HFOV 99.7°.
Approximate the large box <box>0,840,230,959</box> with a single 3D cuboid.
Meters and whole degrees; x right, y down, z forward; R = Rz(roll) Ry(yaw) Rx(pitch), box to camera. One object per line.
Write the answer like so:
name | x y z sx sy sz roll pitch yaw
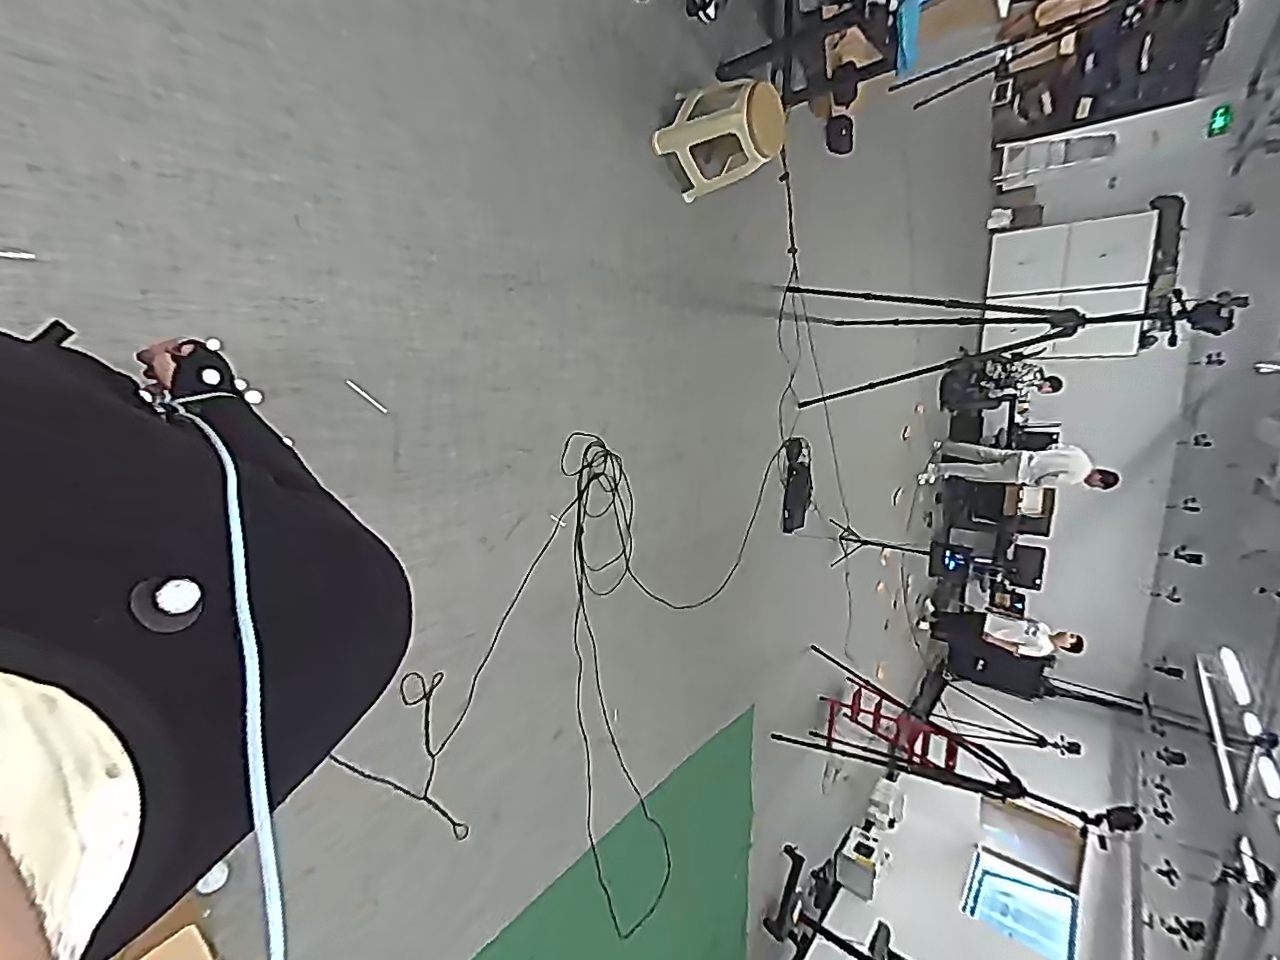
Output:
large box | -1.186 1.119 1.176 0.408 0.320 0.320 -25 114 -43
